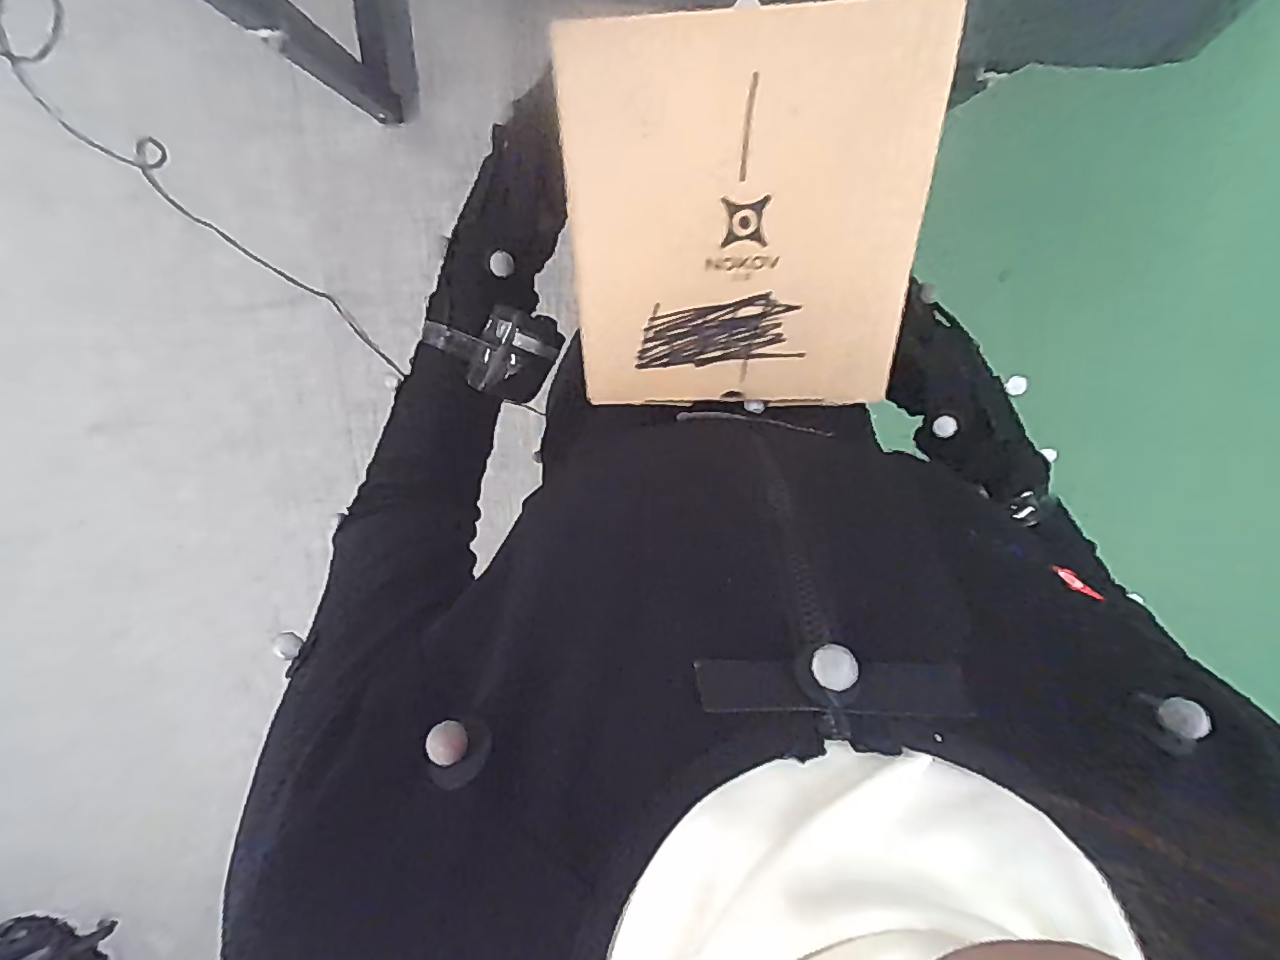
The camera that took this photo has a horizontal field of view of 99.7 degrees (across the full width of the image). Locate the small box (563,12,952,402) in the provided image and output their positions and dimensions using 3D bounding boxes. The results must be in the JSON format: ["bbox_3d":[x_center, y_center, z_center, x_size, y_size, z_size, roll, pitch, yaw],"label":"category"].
[{"bbox_3d":[0.055,-0.164,0.338,0.168,0.176,0.179,1,123,4],"label":"small box"}]
